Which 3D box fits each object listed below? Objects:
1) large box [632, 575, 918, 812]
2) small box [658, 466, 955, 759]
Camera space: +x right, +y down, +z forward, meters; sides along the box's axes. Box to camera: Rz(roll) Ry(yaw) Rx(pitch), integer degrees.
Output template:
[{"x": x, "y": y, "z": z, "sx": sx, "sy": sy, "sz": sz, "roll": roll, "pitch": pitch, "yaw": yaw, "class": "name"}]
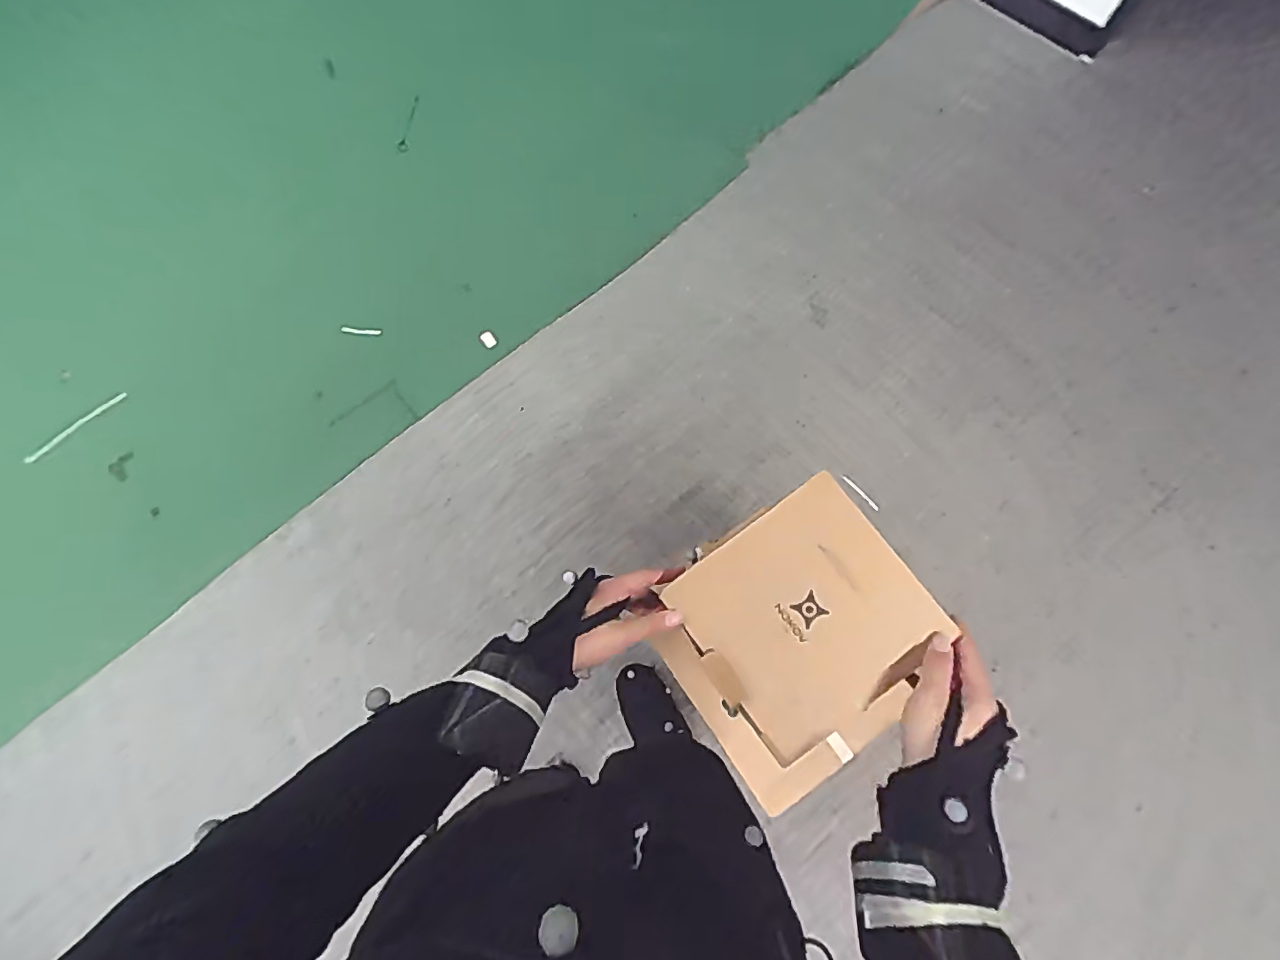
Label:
[{"x": 0.227, "y": 0.327, "z": 1.058, "sx": 0.320, "sy": 0.320, "sz": 0.408, "roll": -35, "pitch": 75, "yaw": -5, "class": "large box"}, {"x": 0.136, "y": 0.114, "z": 0.508, "sx": 0.179, "sy": 0.176, "sz": 0.168, "roll": -37, "pitch": 82, "yaw": -2, "class": "small box"}]
